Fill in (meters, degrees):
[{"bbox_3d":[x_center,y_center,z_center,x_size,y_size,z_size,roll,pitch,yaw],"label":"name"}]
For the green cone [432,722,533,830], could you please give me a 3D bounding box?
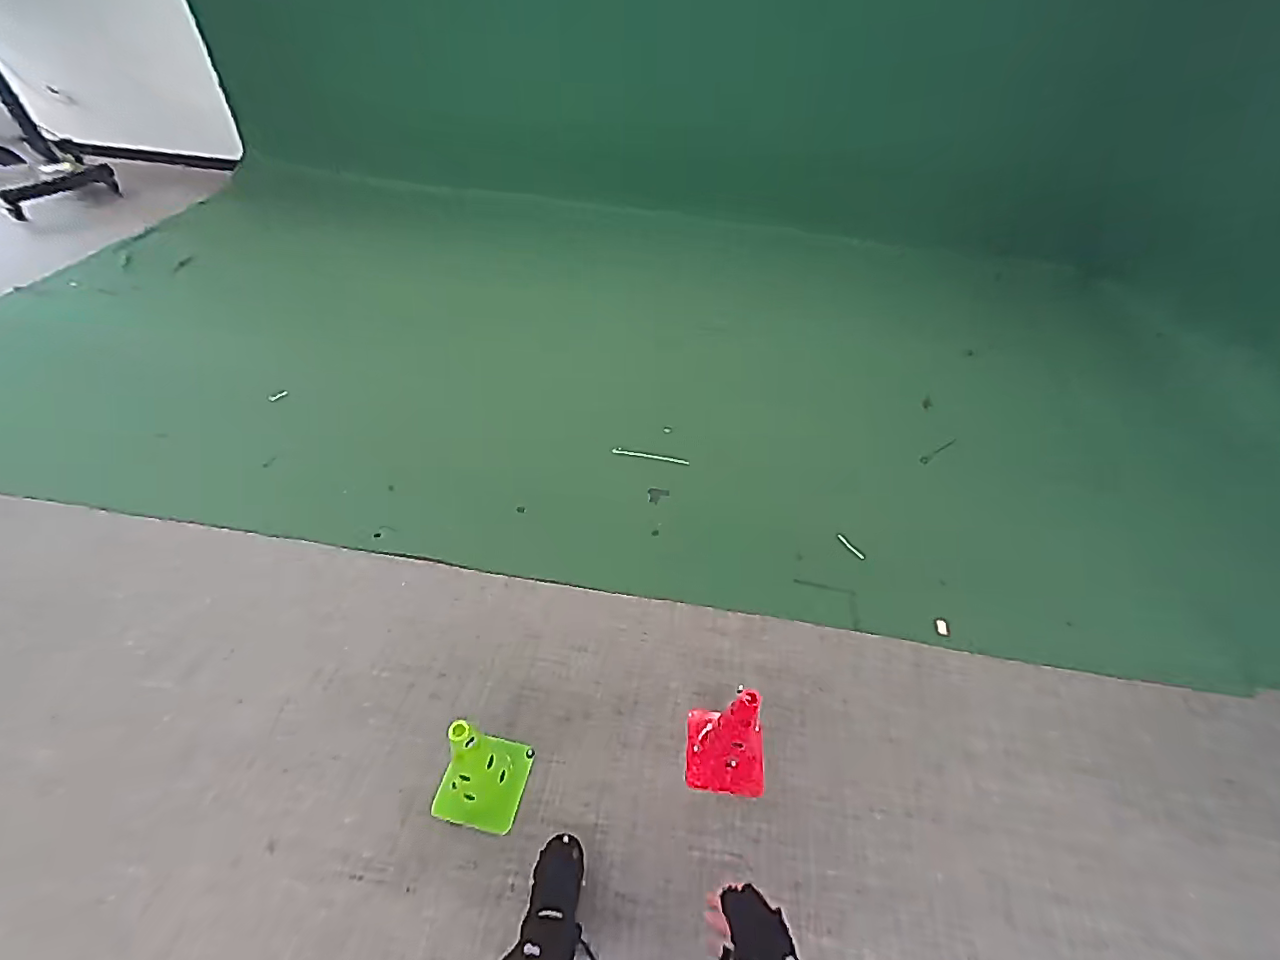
[{"bbox_3d":[-0.378,0.618,1.211,0.200,0.368,0.202,10,47,6],"label":"green cone"}]
